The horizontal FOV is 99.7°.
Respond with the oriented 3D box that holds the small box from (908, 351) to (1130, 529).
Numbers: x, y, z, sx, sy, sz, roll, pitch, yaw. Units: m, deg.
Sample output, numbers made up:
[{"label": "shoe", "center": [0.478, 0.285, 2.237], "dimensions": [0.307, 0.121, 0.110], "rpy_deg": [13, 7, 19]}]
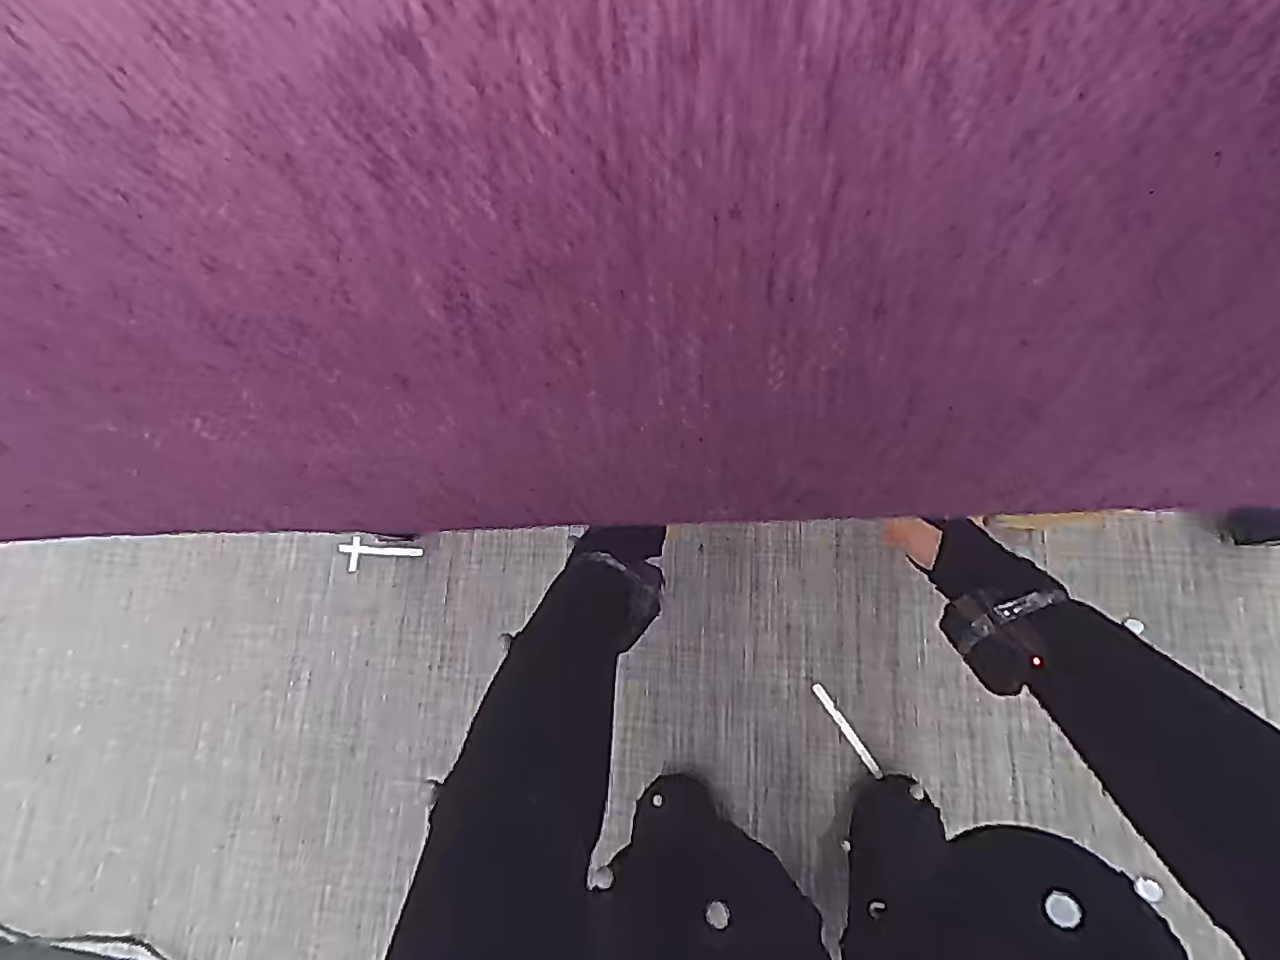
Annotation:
[{"label": "small box", "center": [0.442, -0.039, 0.657], "dimensions": [0.168, 0.176, 0.179], "rpy_deg": [5, 79, 8]}]
